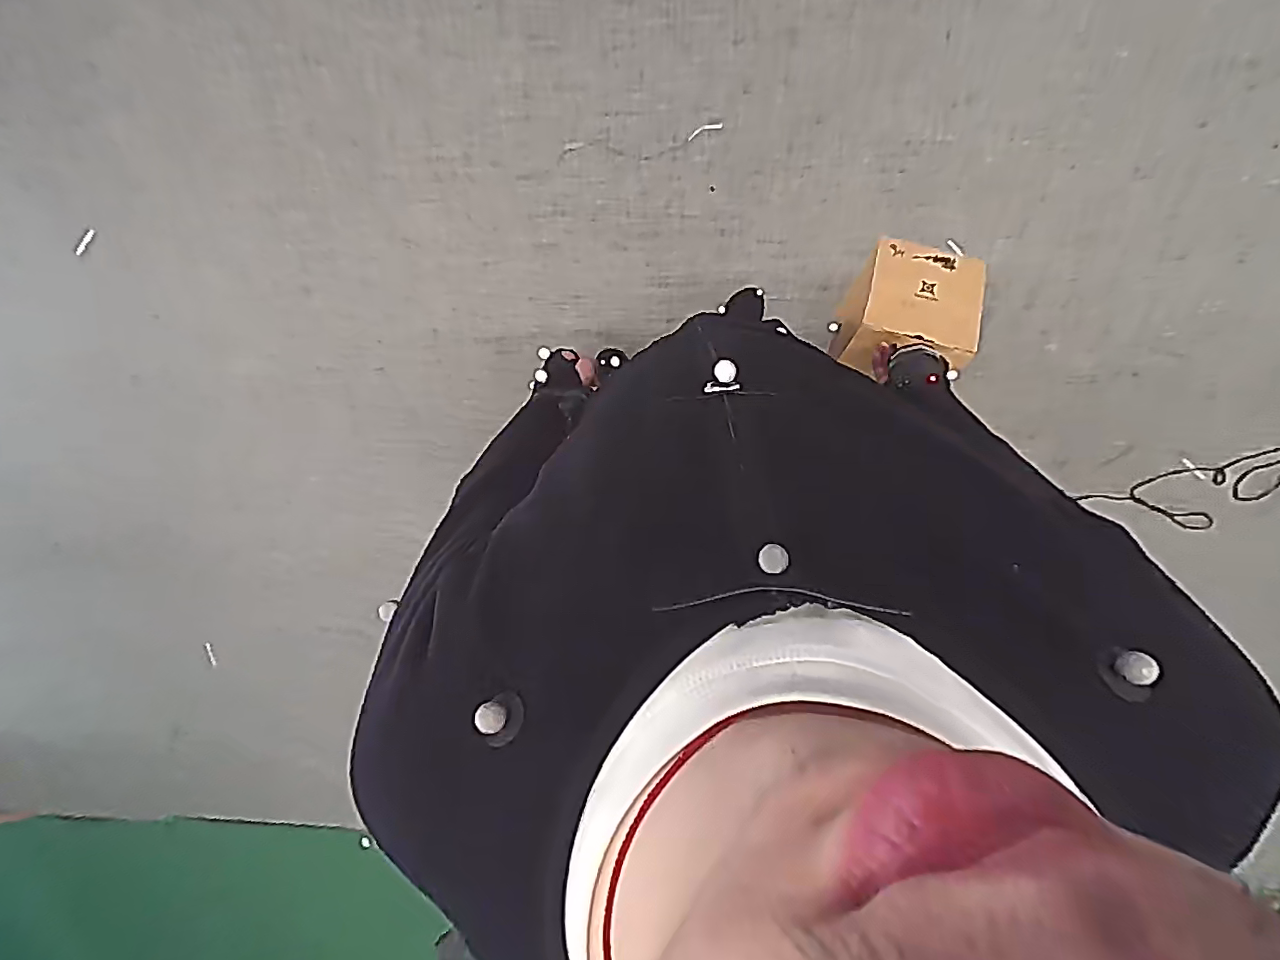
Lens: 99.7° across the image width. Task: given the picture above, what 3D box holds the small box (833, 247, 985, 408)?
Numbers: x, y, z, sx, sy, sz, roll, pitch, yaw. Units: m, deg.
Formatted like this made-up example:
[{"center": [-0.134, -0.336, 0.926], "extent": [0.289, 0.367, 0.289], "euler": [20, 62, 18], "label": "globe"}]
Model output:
[{"center": [0.427, -0.239, 0.880], "extent": [0.168, 0.176, 0.179], "euler": [14, 70, 7], "label": "small box"}]
